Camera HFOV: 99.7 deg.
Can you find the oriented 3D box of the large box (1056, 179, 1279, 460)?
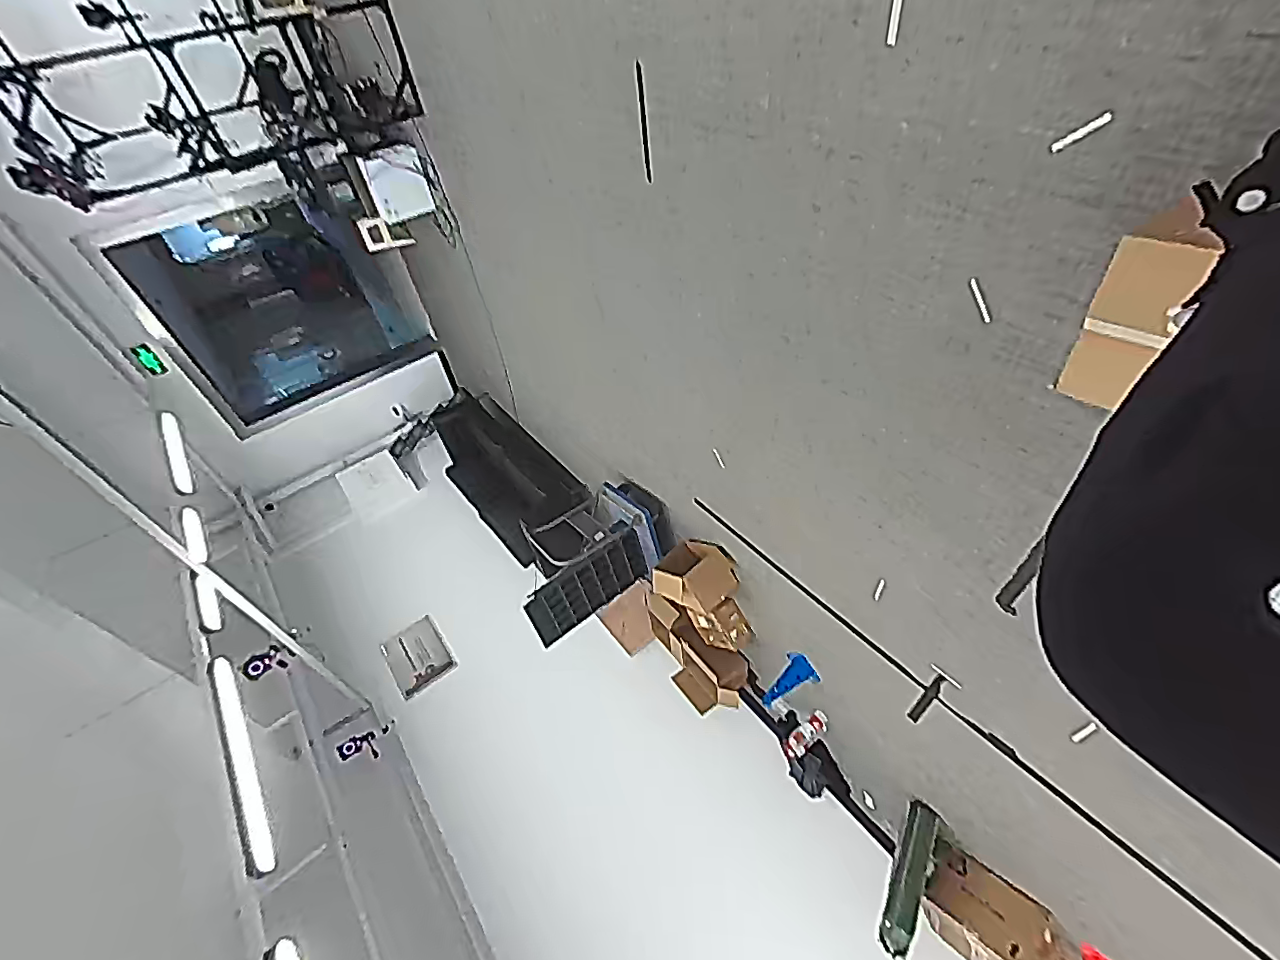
[{"bbox_3d":[1.056,-0.283,0.920,0.408,0.320,0.320,40,152,40],"label":"large box"}]
